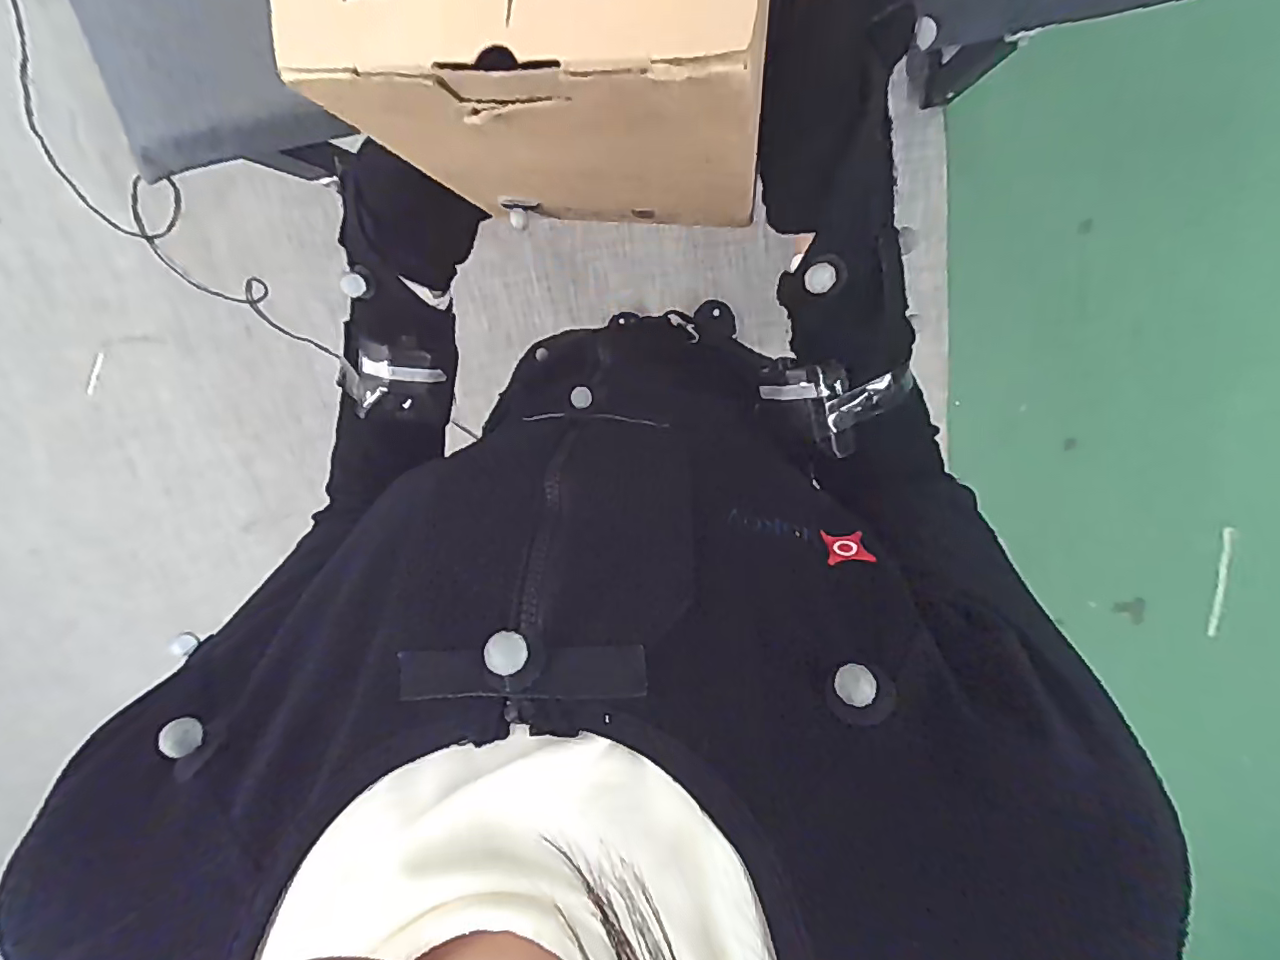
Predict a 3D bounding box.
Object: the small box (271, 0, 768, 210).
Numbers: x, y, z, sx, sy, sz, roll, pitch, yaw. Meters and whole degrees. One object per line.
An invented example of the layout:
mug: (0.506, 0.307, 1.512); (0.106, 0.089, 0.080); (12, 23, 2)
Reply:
small box: (-0.027, -0.236, 0.240); (0.168, 0.176, 0.179); (7, 101, 9)
